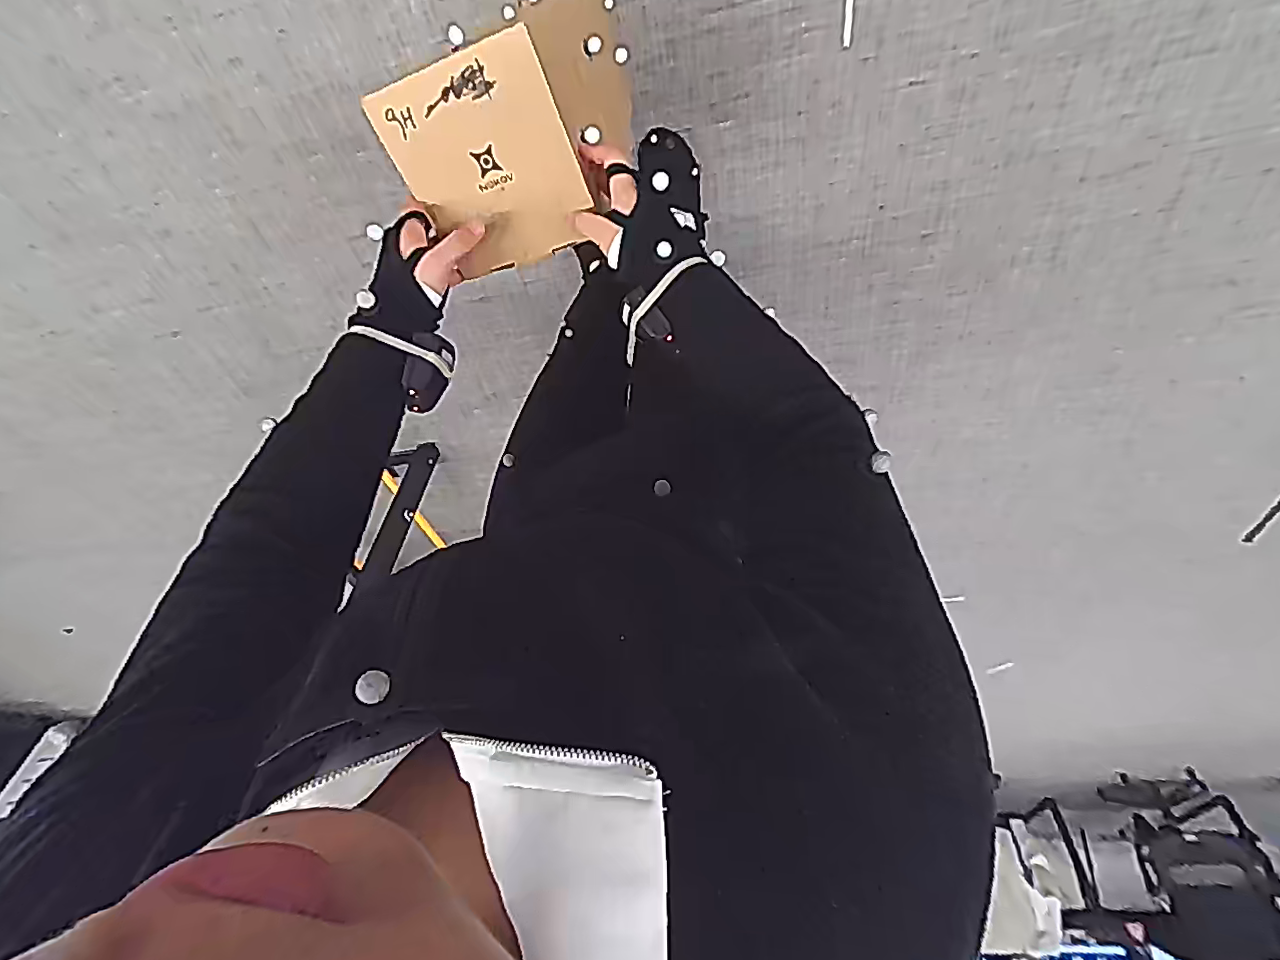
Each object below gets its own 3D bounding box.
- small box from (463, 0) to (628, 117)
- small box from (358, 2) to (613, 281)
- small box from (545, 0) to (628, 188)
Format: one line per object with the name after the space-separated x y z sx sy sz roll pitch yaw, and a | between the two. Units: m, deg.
-0.124 -0.579 0.781 0.179 0.176 0.168 -10 136 13 | small box
-0.135 -0.341 0.553 0.168 0.176 0.179 -11 135 16 | small box
-0.122 -0.457 0.669 0.168 0.176 0.179 -12 135 17 | small box
